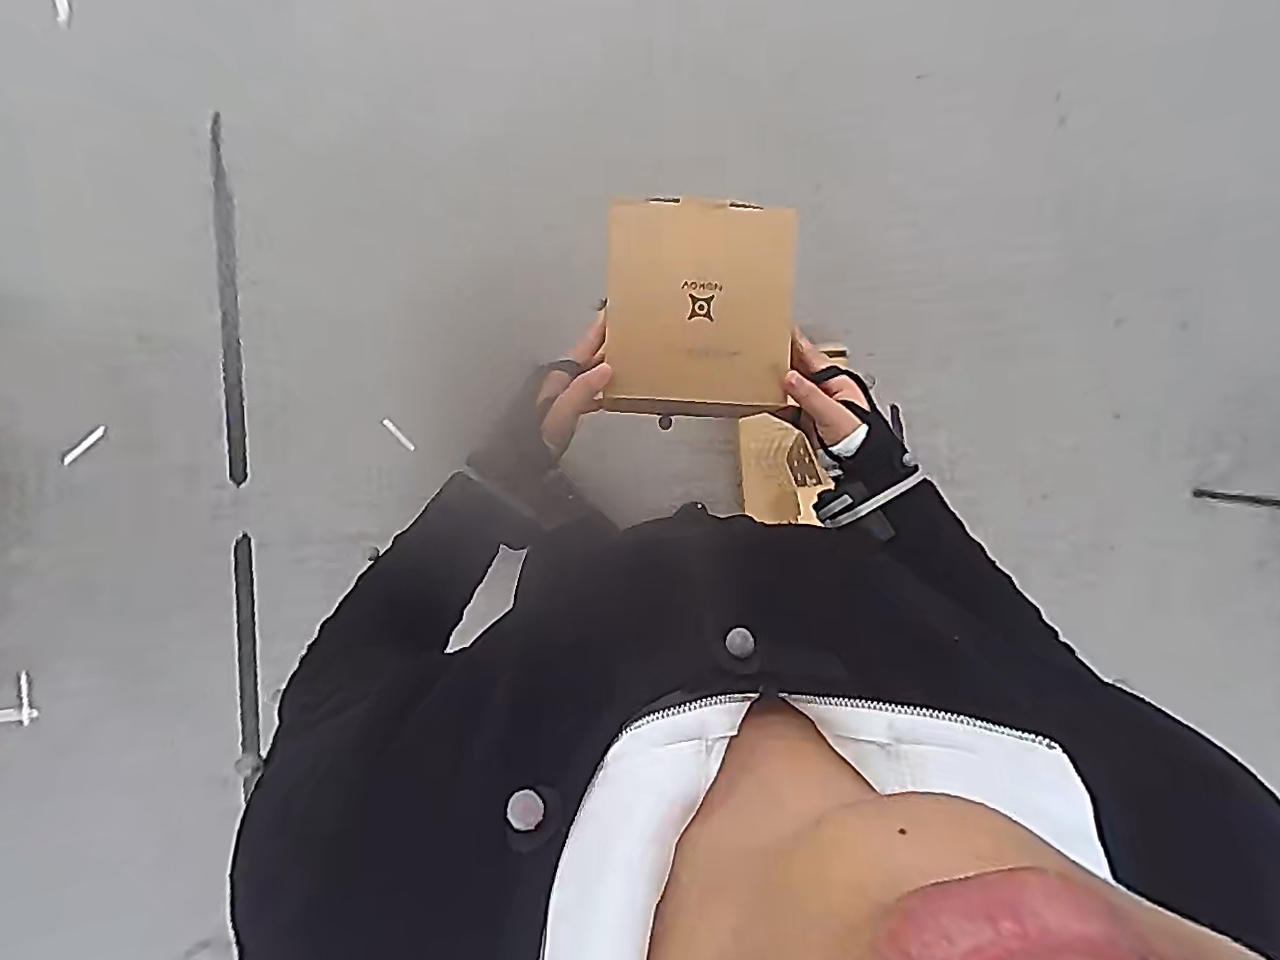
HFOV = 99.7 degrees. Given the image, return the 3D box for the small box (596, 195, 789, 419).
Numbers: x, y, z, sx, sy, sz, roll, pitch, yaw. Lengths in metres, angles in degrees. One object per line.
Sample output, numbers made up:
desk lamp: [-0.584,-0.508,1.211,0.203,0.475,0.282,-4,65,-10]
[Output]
small box: [0.041,-0.158,0.552,0.168,0.176,0.179,2,93,-4]

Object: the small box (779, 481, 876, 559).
small box: [0.448,0.096,1.325,0.179,0.176,0.168,-7,88,-1]
